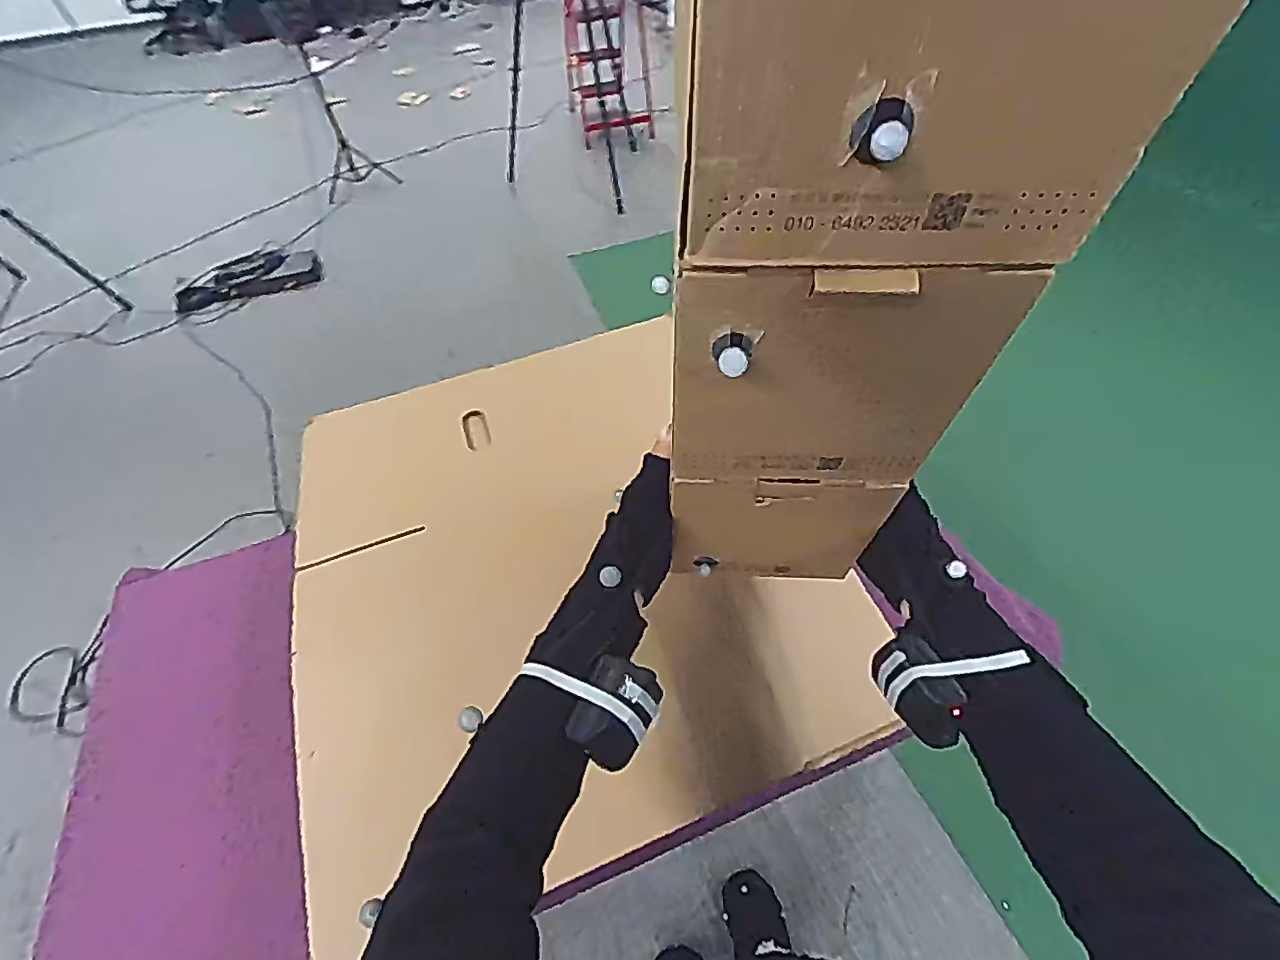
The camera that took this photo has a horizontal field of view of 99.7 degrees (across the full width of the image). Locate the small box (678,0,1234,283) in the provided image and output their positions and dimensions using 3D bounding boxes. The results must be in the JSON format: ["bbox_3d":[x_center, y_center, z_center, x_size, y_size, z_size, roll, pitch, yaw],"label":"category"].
[{"bbox_3d":[0.101,-0.206,0.222,0.168,0.176,0.179,0,57,2],"label":"small box"}]

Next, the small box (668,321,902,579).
[{"bbox_3d":[0.112,-0.021,0.492,0.168,0.176,0.179,2,56,4],"label":"small box"}]
